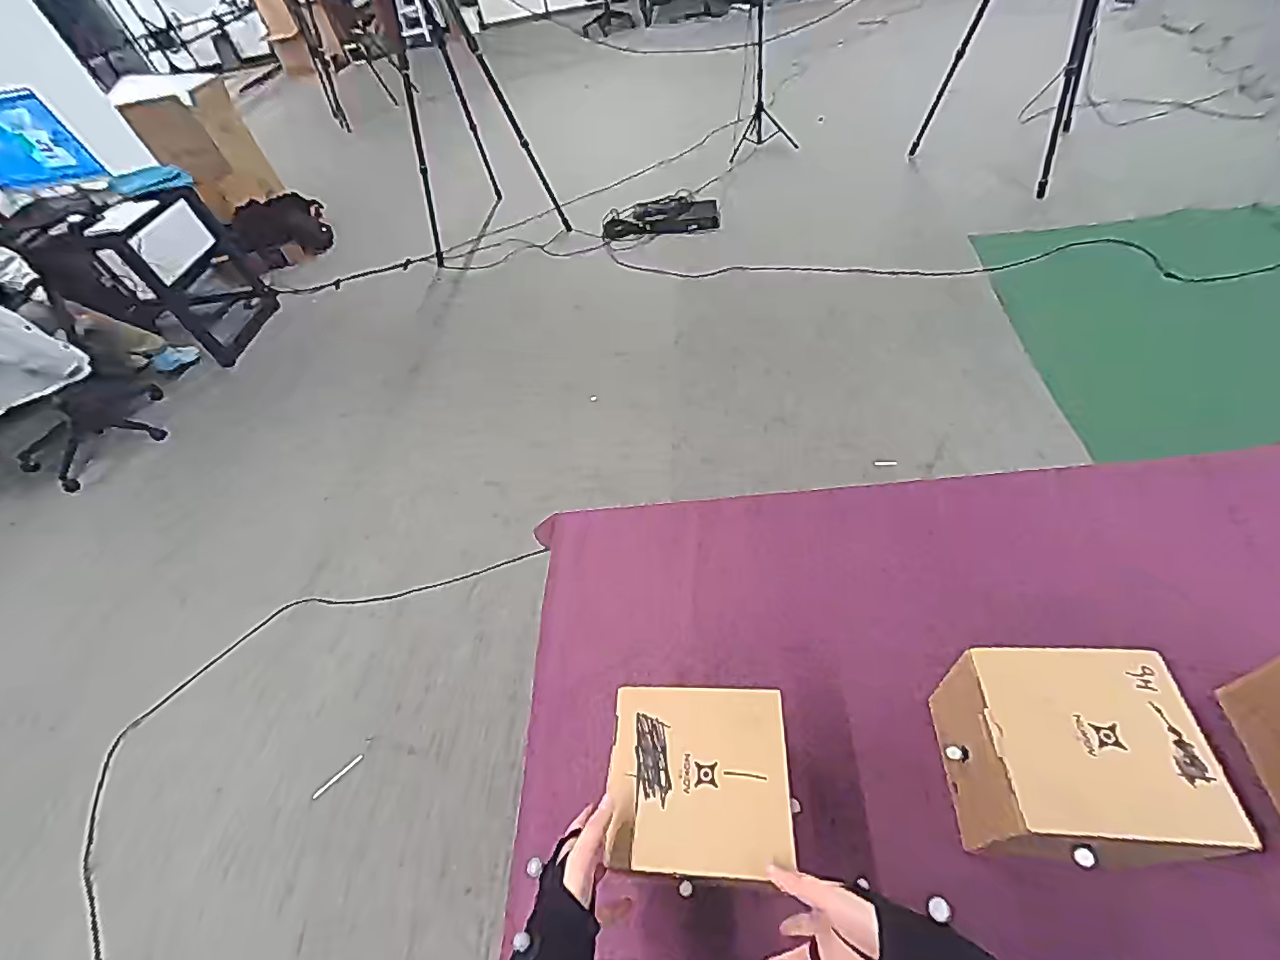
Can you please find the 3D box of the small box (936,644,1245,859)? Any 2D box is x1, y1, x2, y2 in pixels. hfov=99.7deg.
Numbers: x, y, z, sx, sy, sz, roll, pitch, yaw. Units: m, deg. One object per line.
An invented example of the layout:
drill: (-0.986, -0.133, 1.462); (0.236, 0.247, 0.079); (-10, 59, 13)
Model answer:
small box: (0.429, 0.284, 0.563); (0.179, 0.176, 0.168); (-3, 50, 11)
